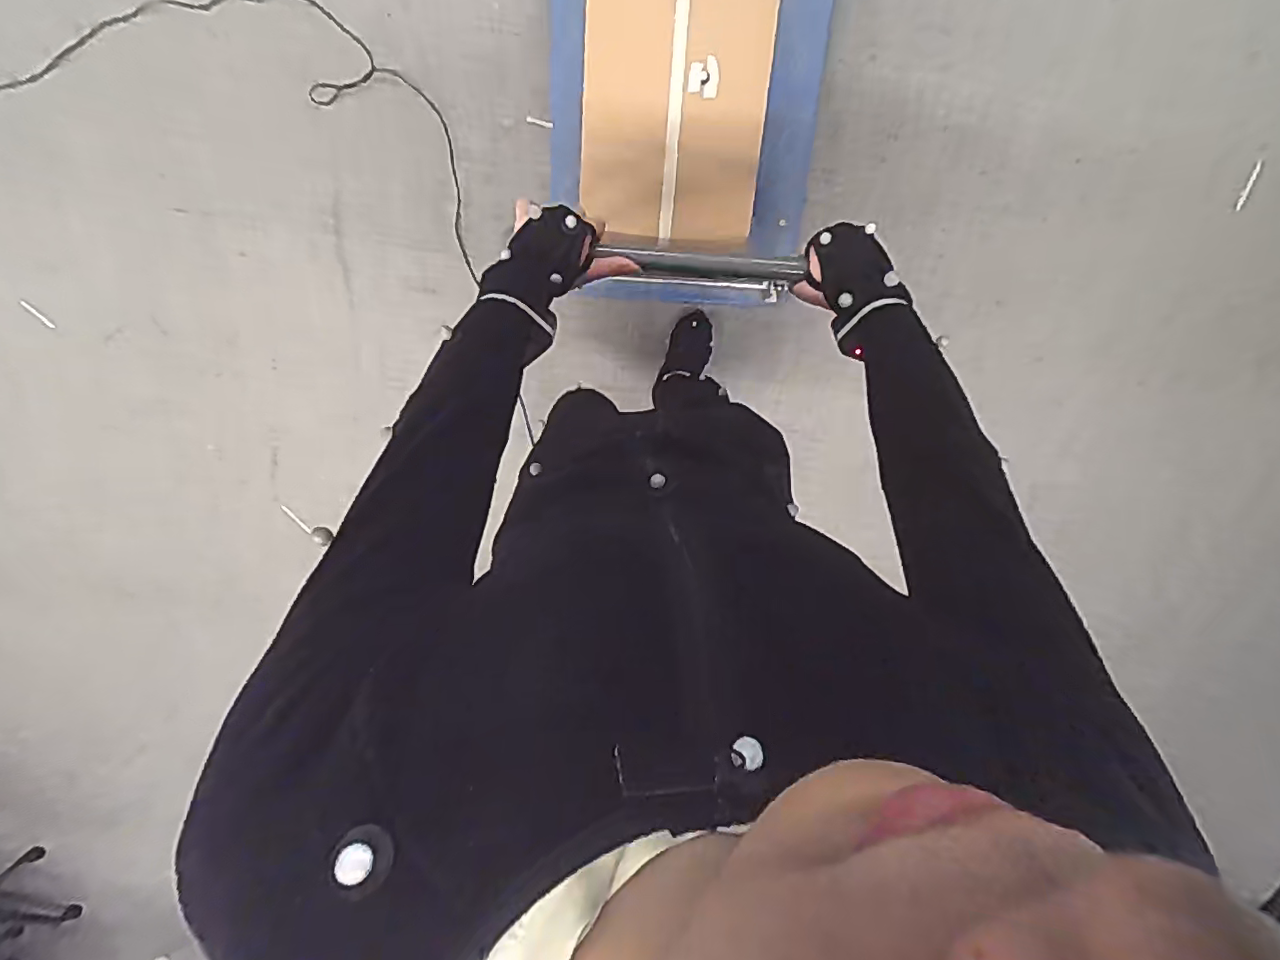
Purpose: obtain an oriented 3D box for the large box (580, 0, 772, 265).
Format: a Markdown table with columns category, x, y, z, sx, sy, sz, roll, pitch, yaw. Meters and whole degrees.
| category | x | y | z | sx | sy | sz | roll | pitch | yaw |
| --- | --- | --- | --- | --- | --- | --- | --- | --- | --- |
| large box | 0.058 | -0.658 | 1.079 | 0.320 | 0.320 | 0.408 | 4 | 108 | 0 |
